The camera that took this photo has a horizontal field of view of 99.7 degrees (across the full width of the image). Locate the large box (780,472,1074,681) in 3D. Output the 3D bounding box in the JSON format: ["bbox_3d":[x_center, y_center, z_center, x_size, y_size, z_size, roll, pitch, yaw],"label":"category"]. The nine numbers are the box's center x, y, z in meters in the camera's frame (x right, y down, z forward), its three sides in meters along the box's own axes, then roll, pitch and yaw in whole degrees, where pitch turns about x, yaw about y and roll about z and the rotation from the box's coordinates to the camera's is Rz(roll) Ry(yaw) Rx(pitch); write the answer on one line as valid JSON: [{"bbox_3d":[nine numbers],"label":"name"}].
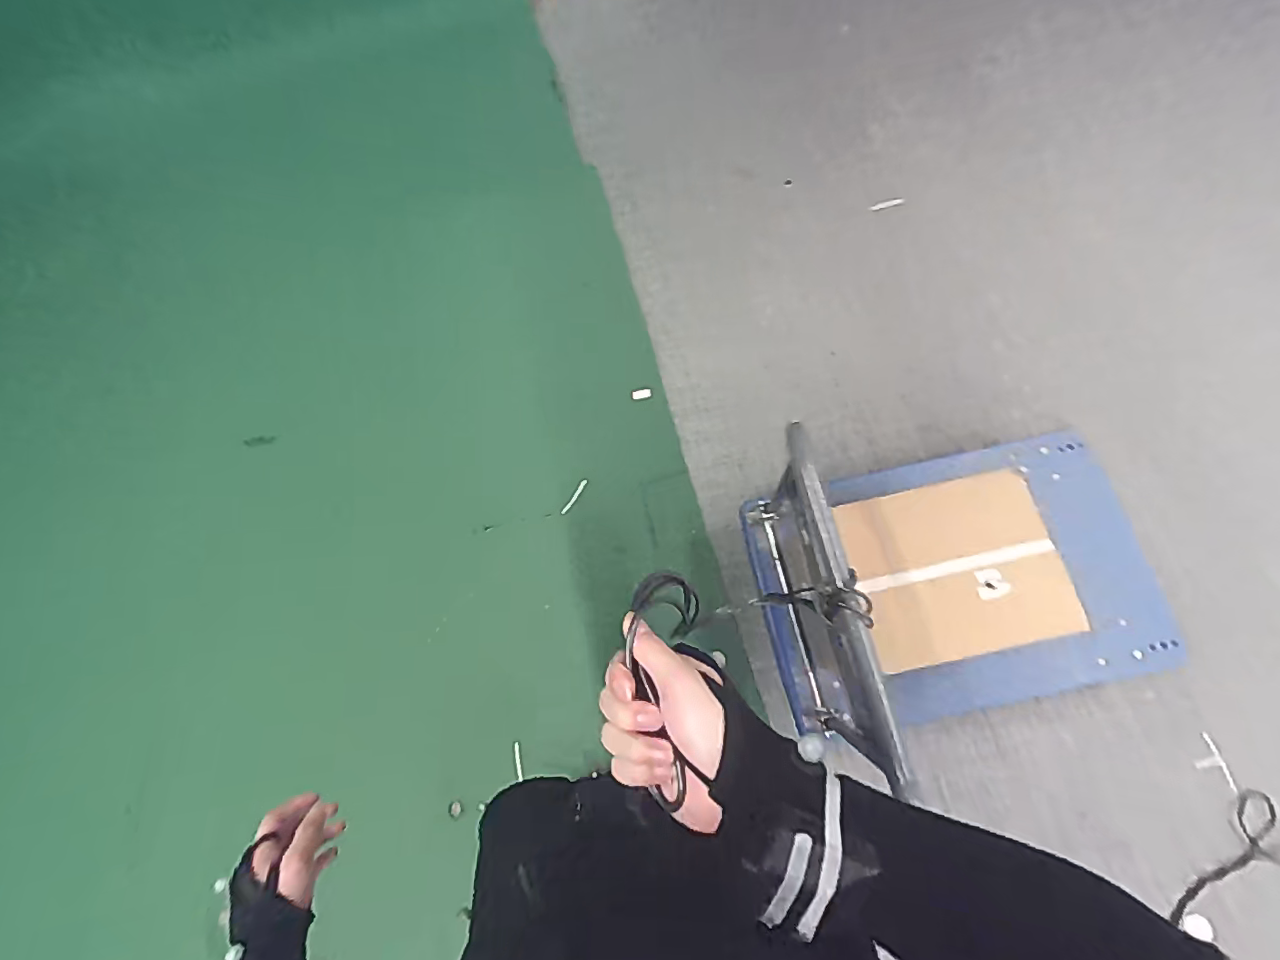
[{"bbox_3d":[0.556,0.215,1.143,0.408,0.320,0.320,-13,73,0],"label":"large box"}]
